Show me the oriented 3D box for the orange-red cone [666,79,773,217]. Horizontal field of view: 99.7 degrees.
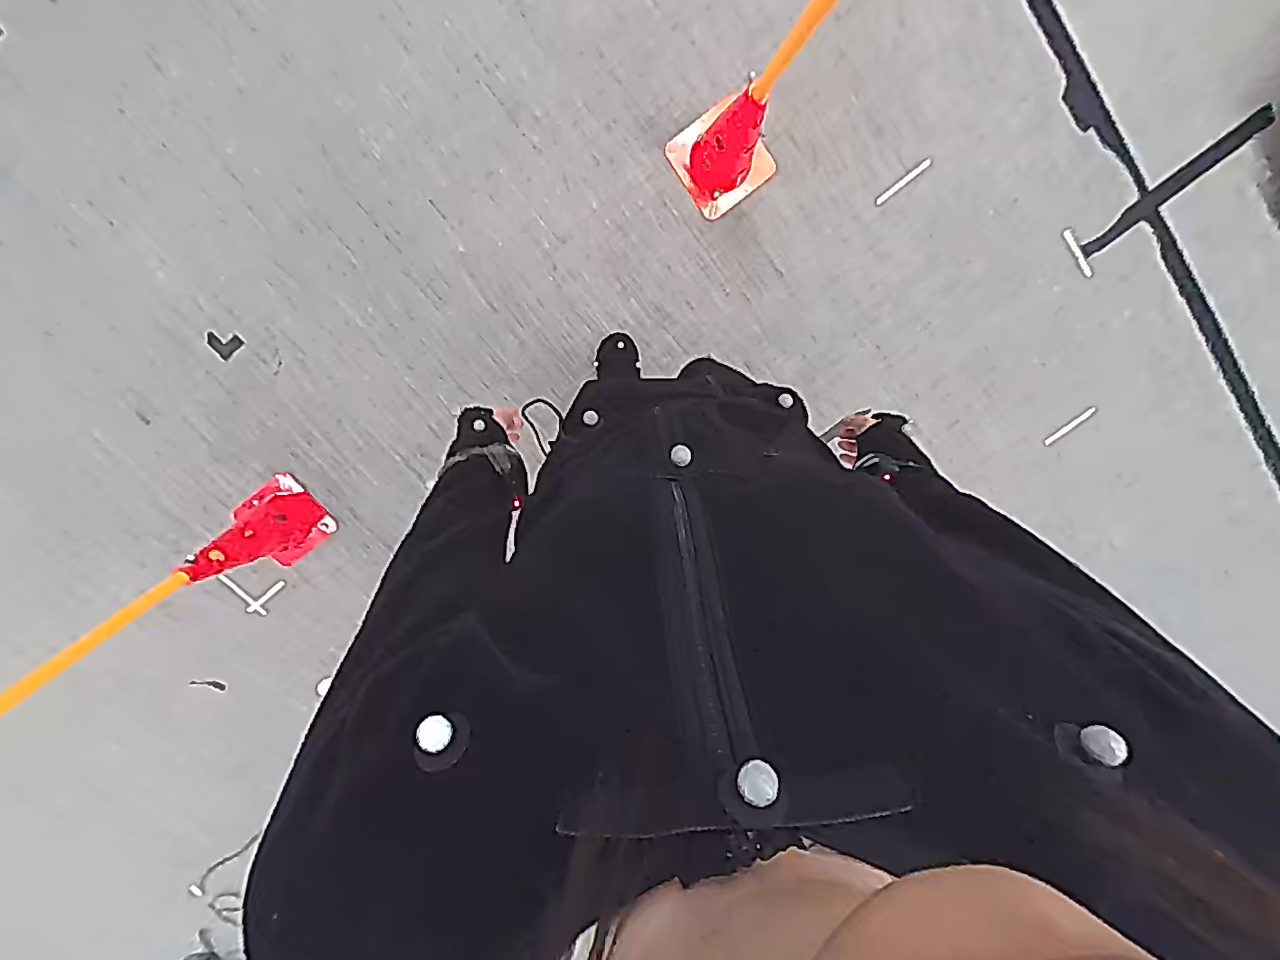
[{"bbox_3d":[0.194,-0.699,1.077,0.199,0.360,0.198,-35,104,5],"label":"orange-red cone"}]
